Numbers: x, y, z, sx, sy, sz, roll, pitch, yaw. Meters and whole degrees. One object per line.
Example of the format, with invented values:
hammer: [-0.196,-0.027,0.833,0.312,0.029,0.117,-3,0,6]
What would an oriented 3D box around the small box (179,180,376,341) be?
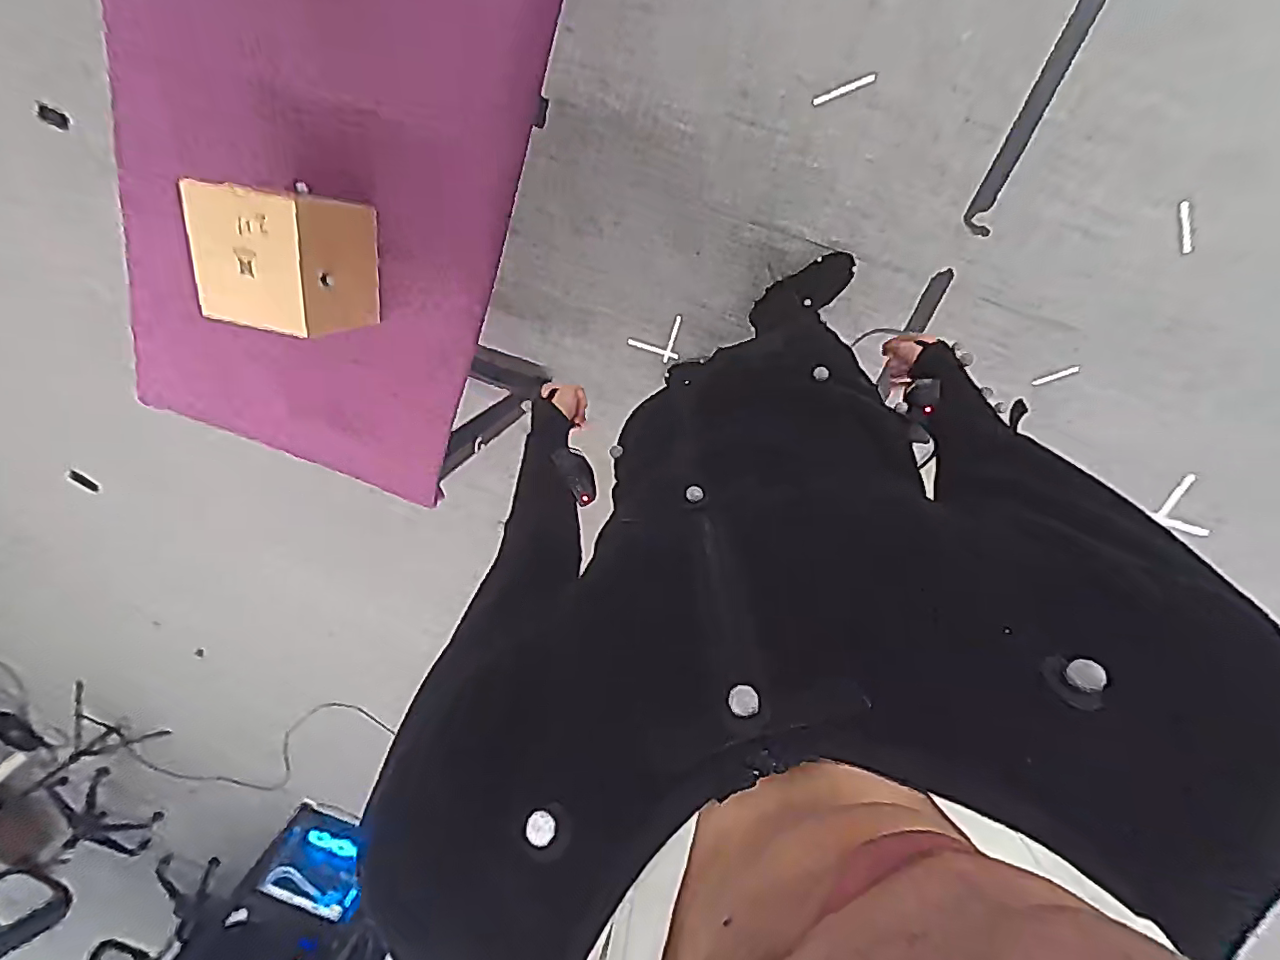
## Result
small box: [-0.507,-0.317,0.786,0.168,0.176,0.179,13,114,5]
